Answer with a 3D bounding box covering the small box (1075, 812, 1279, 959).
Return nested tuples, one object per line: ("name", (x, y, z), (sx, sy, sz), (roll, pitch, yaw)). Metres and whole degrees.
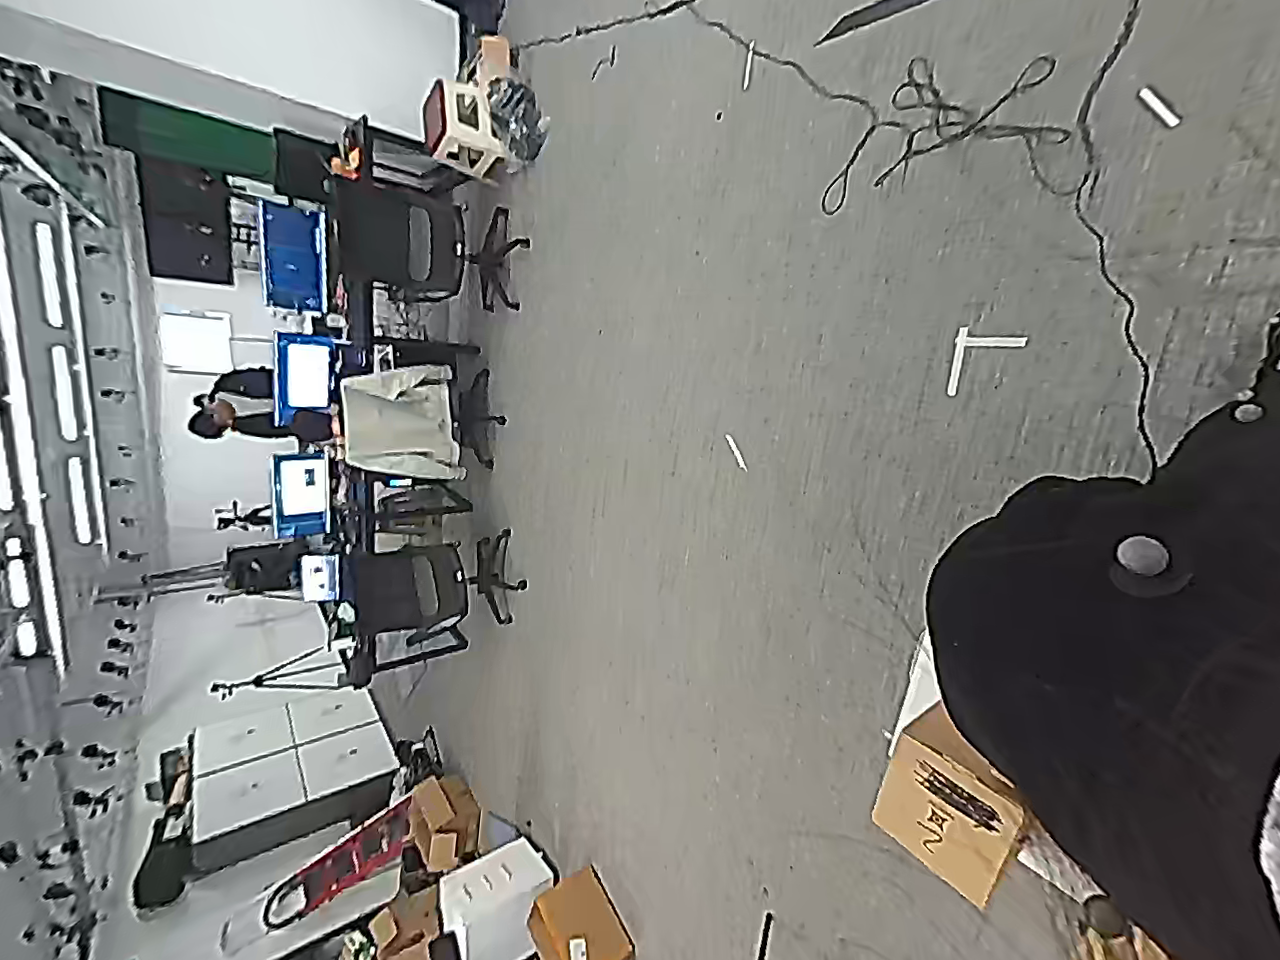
("small box", (0.642, 0.531, 0.616), (0.168, 0.176, 0.179), (29, 116, 47))
